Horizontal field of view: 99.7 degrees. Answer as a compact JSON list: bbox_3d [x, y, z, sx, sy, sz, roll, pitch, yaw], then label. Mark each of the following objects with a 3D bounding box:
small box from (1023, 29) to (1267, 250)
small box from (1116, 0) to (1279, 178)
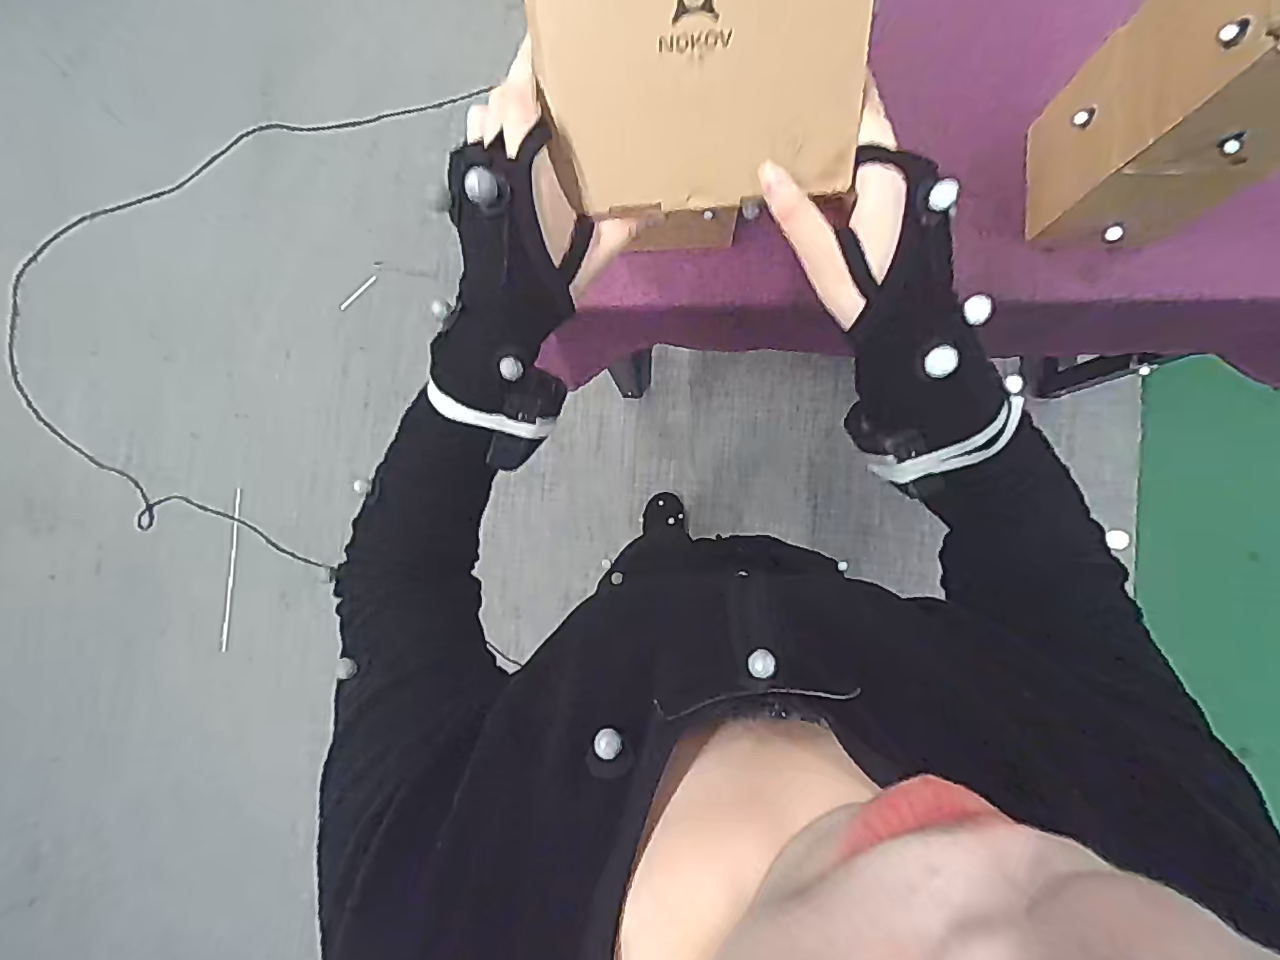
[{"bbox_3d":[0.623,-0.420,0.687,0.168,0.176,0.179,4,87,5],"label":"small box"},{"bbox_3d":[0.613,-0.430,0.525,0.168,0.176,0.179,4,88,5],"label":"small box"}]
